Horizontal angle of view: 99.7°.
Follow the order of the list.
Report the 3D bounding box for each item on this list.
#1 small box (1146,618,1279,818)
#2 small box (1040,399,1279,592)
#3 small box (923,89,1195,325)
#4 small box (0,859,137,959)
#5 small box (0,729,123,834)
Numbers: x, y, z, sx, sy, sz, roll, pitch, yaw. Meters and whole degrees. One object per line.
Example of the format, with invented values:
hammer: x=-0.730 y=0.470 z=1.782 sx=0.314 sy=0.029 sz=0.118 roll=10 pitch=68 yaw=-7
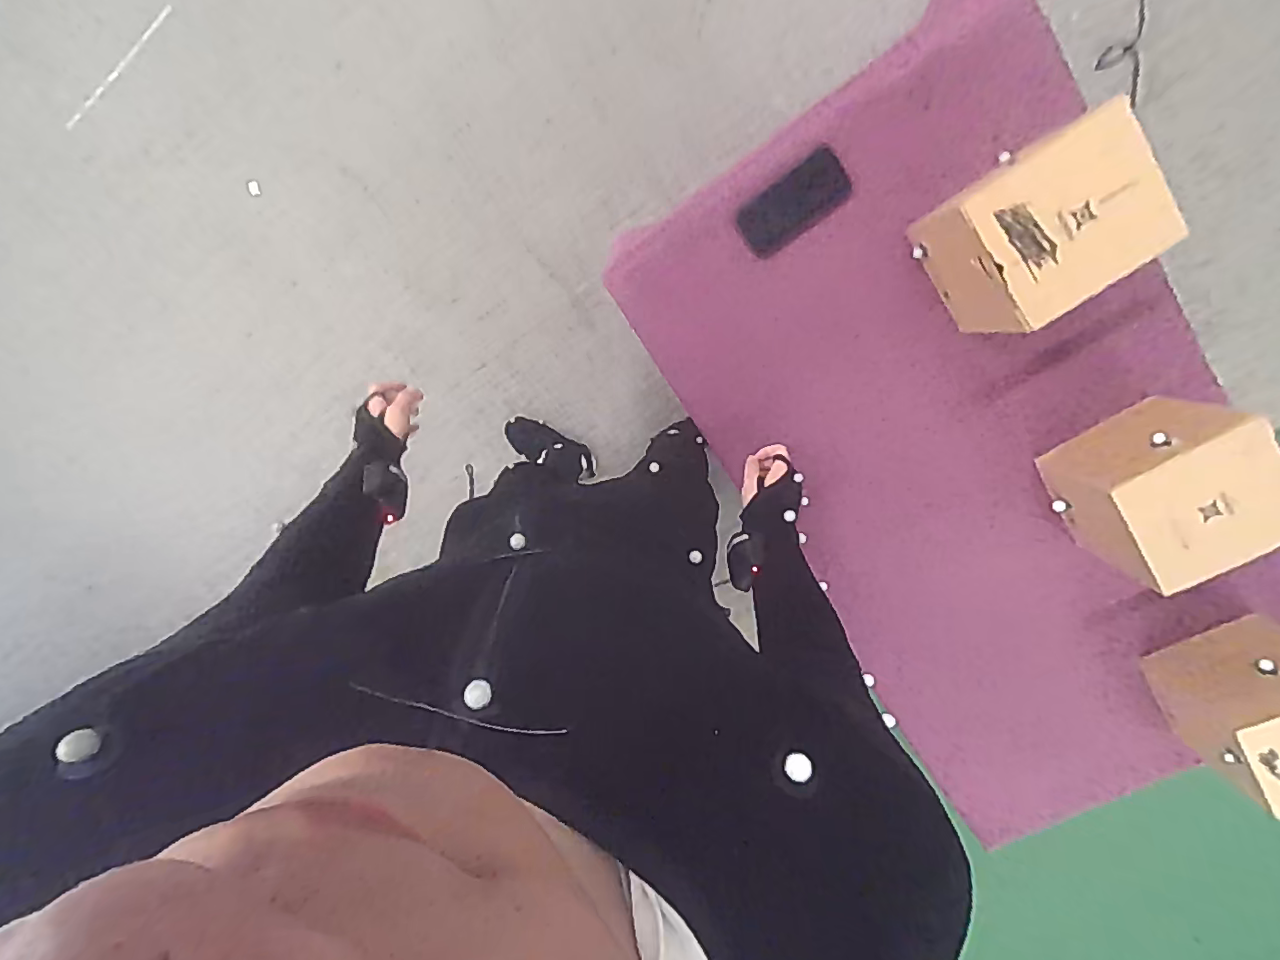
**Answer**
small box: x=0.903 y=0.329 z=0.774 sx=0.179 sy=0.176 sz=0.168 roll=-31 pitch=99 yaw=13
small box: x=0.688 y=0.009 z=0.710 sx=0.179 sy=0.176 sz=0.168 roll=-32 pitch=99 yaw=14
small box: x=0.470 y=-0.301 z=0.646 sx=0.179 sy=0.176 sz=0.168 roll=-33 pitch=99 yaw=14
small box: x=-1.503 y=1.150 z=1.423 sx=0.179 sy=0.176 sz=0.168 roll=-25 pitch=102 yaw=12
small box: x=-1.640 y=0.846 z=1.527 sx=0.179 sy=0.176 sz=0.168 roll=-27 pitch=101 yaw=11
